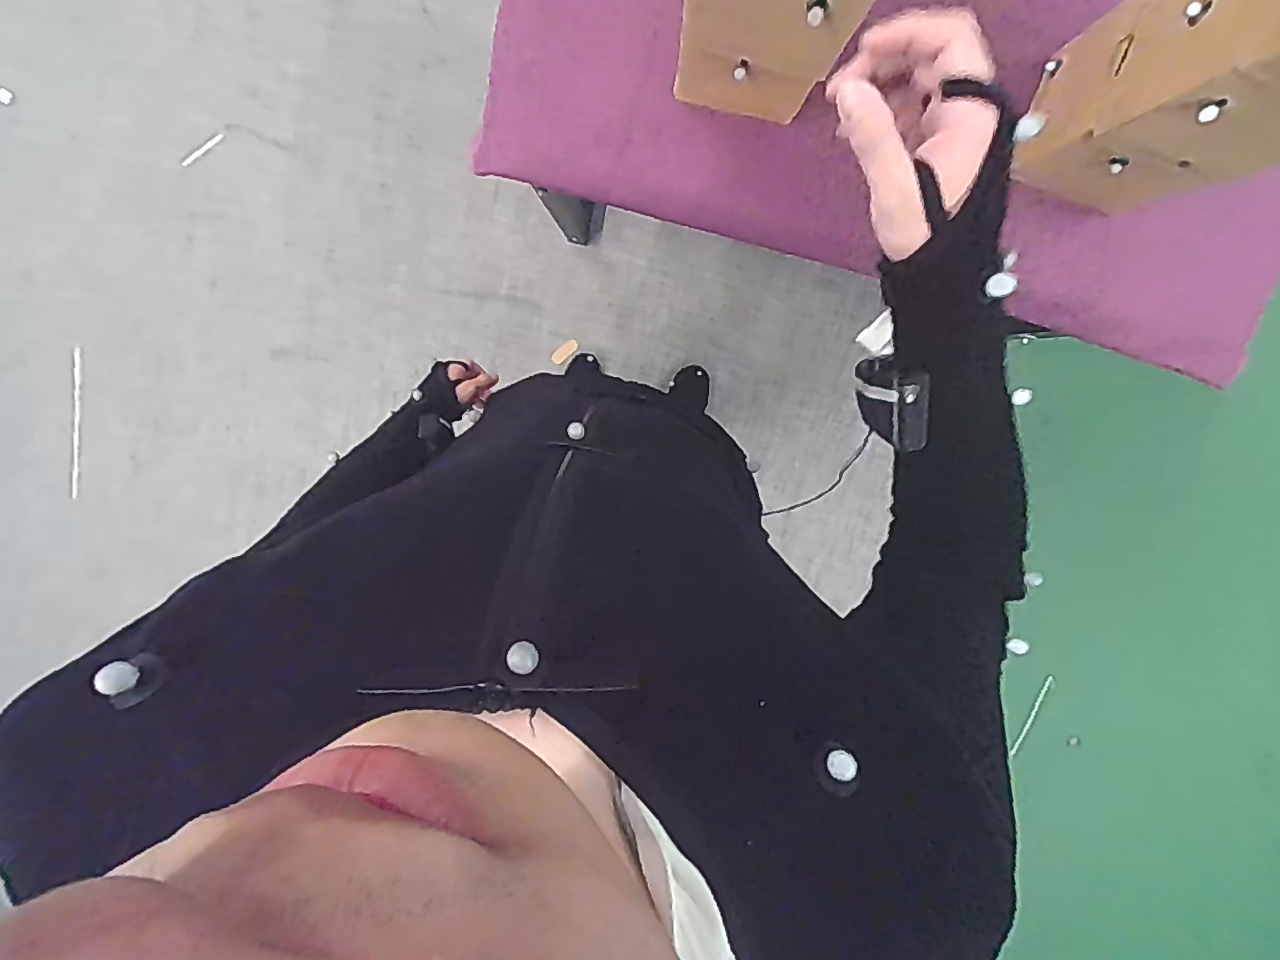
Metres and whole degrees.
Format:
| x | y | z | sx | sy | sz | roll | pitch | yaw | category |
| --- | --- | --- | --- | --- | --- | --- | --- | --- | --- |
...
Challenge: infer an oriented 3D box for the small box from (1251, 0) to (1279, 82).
| x | y | z | sx | sy | sz | roll | pitch | yaw | category |
| --- | --- | --- | --- | --- | --- | --- | --- | --- | --- |
| 0.630 | -0.391 | 0.385 | 0.179 | 0.176 | 0.168 | 19 | 103 | -3 | small box |

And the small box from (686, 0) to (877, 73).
| x | y | z | sx | sy | sz | roll | pitch | yaw | category |
| --- | --- | --- | --- | --- | --- | --- | --- | --- | --- |
| 0.152 | -0.544 | 0.532 | 0.179 | 0.176 | 0.168 | 14 | 103 | -1 | small box |

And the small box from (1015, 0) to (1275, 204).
| x | y | z | sx | sy | sz | roll | pitch | yaw | category |
| --- | --- | --- | --- | --- | --- | --- | --- | --- | --- |
| 0.642 | -0.482 | 0.700 | 0.179 | 0.176 | 0.168 | 17 | 103 | -3 | small box |

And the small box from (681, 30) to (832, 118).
| x | y | z | sx | sy | sz | roll | pitch | yaw | category |
| --- | --- | --- | --- | --- | --- | --- | --- | --- | --- |
| 0.157 | -0.596 | 0.689 | 0.179 | 0.176 | 0.168 | 12 | 103 | -1 | small box |
